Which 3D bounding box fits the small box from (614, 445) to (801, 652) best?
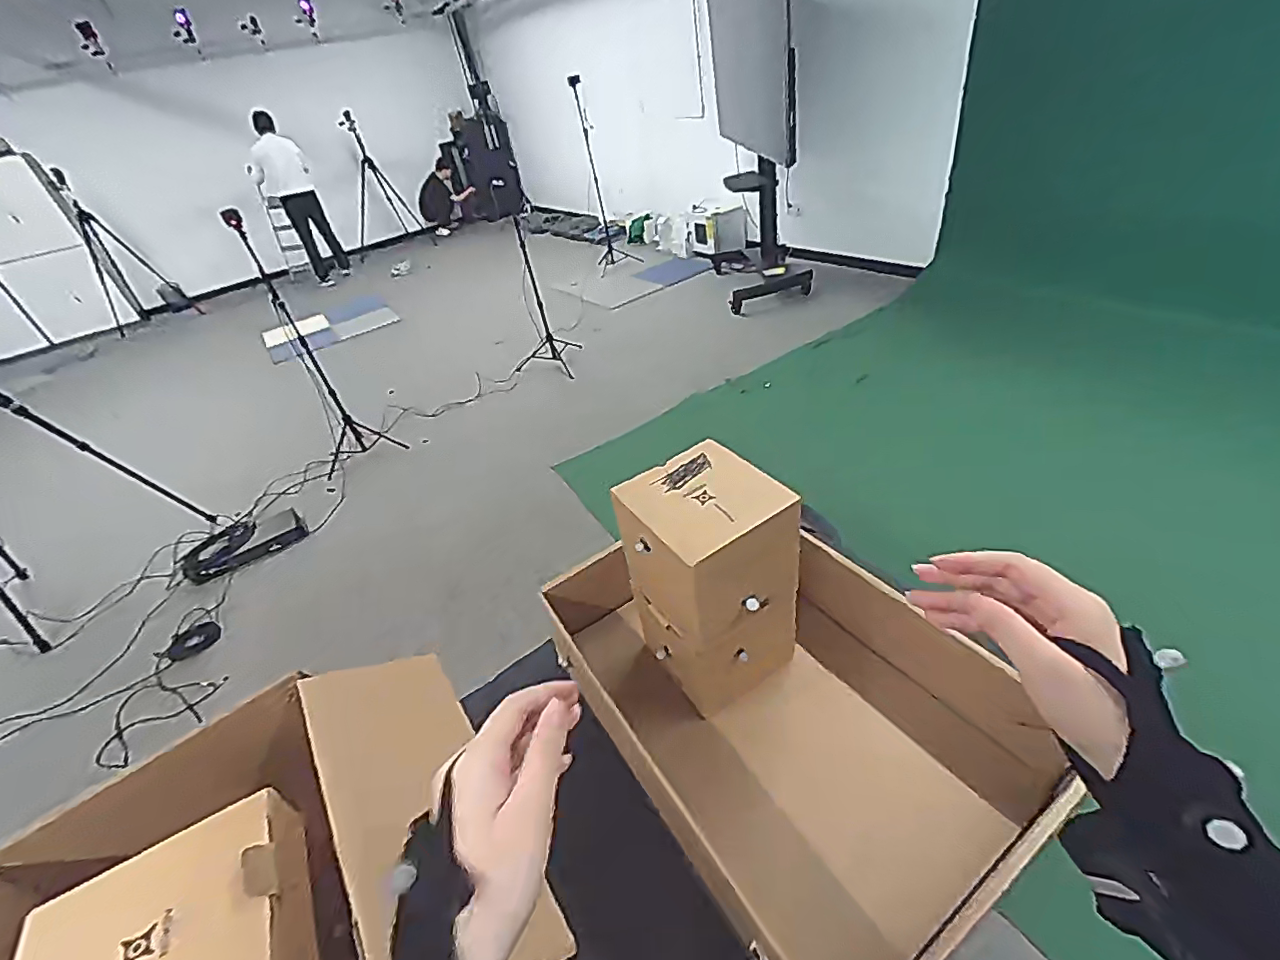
[{"bbox_3d":[0.088,0.087,0.711,0.168,0.176,0.179,-28,41,-20],"label":"small box"}]
